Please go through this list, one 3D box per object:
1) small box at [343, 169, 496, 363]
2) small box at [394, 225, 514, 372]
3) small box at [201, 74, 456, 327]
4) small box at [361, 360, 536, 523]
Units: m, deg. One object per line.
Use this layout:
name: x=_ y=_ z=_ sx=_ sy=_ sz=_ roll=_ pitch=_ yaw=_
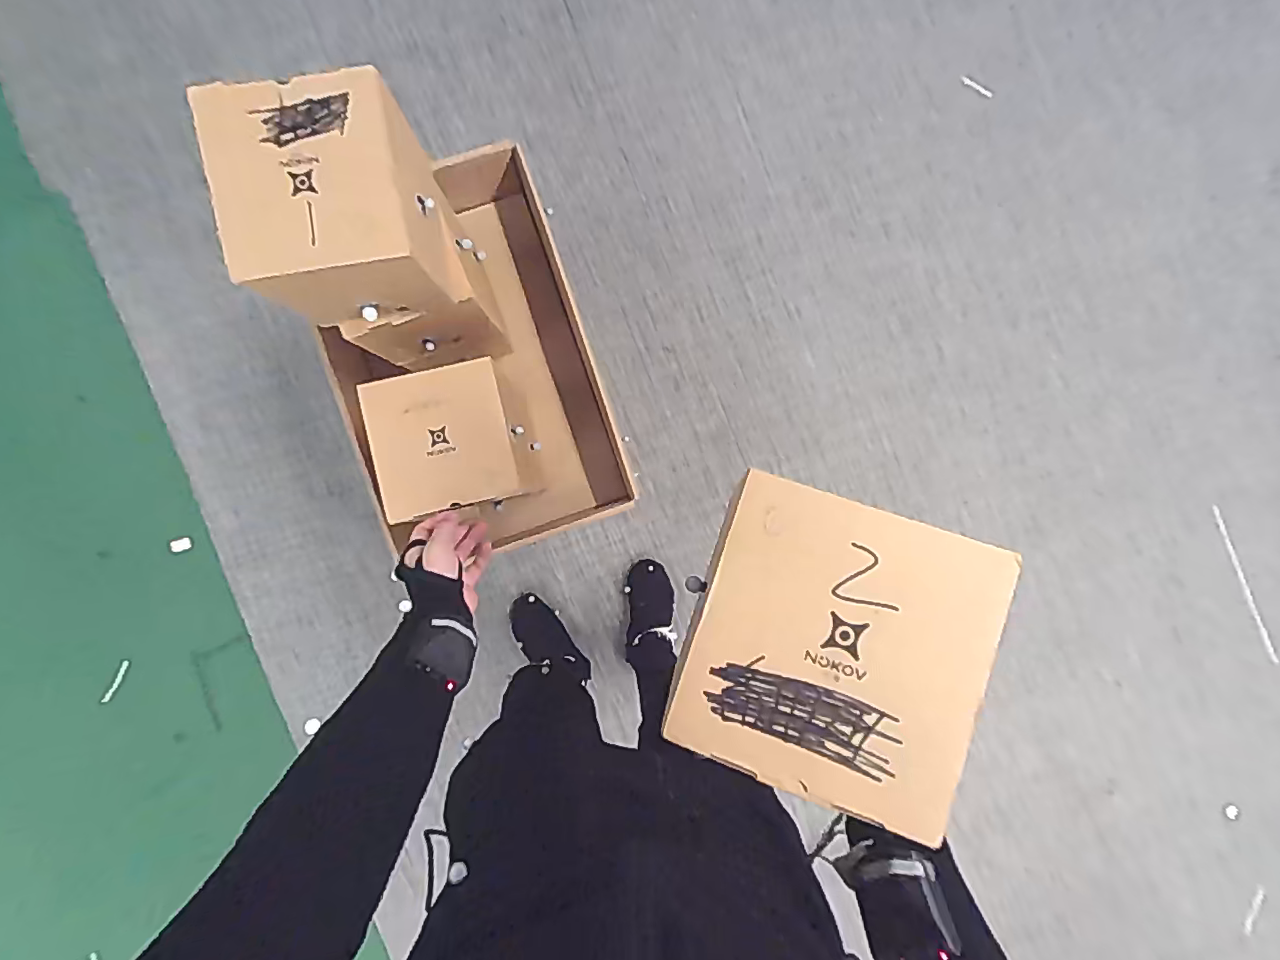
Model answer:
small box: x=-0.316 y=-0.281 z=0.744 sx=0.168 sy=0.176 sz=0.179 roll=-20 pitch=93 yaw=-4
small box: x=-0.326 y=-0.285 z=0.905 sx=0.168 sy=0.176 sz=0.179 roll=-19 pitch=92 yaw=-3
small box: x=-0.311 y=-0.282 z=0.579 sx=0.168 sy=0.176 sz=0.179 roll=-10 pitch=92 yaw=-4
small box: x=-0.247 y=-0.046 z=0.741 sx=0.168 sy=0.176 sz=0.179 roll=-13 pitch=88 yaw=-4
